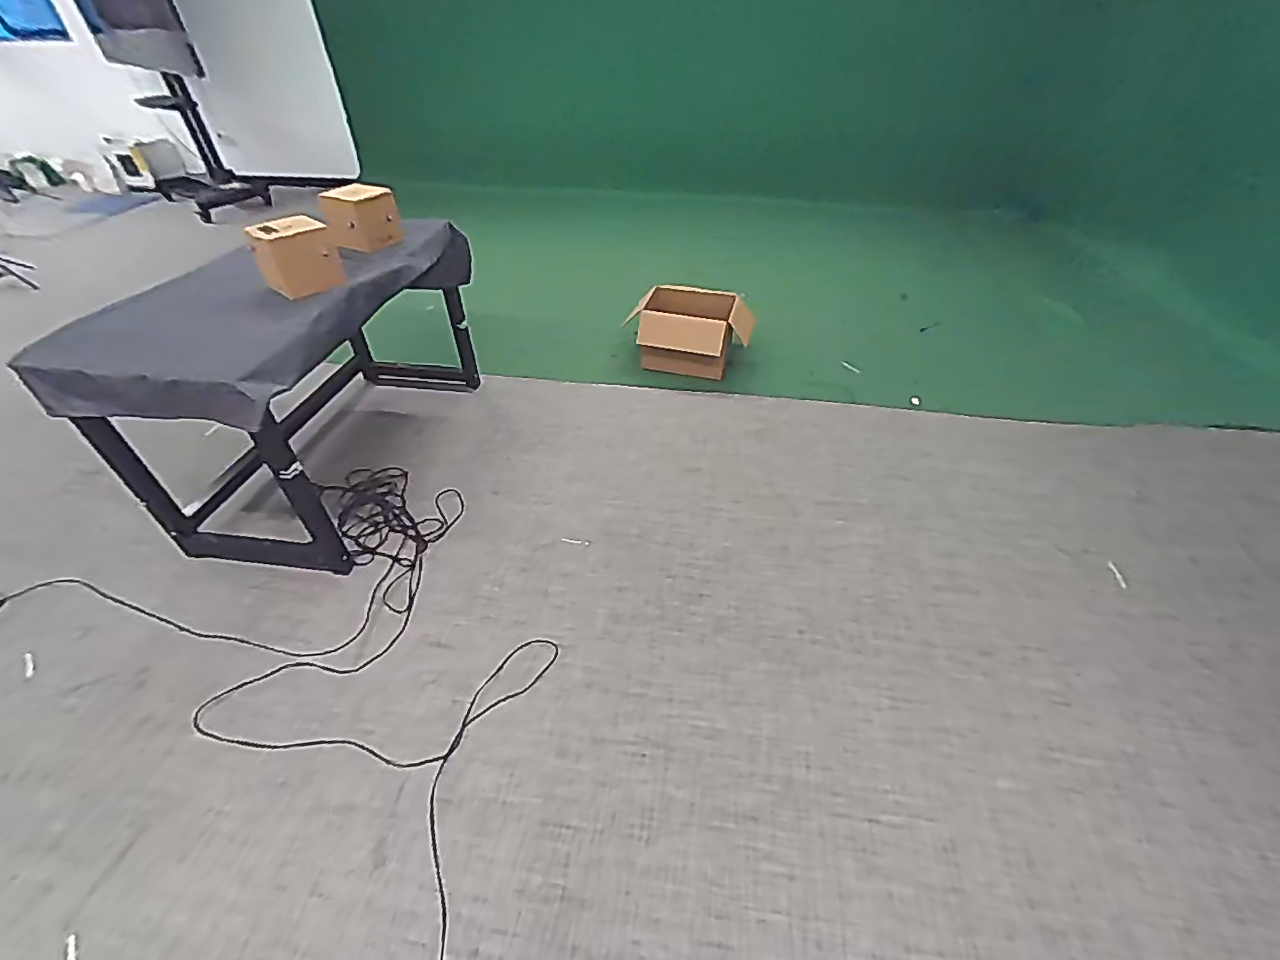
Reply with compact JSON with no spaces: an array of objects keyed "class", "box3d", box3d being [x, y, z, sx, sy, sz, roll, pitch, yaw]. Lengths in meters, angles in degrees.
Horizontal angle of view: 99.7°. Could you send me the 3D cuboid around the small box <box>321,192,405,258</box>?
[{"class":"small box","box3d":[-0.960,-0.891,1.892,0.179,0.176,0.168,17,43,21]}]
